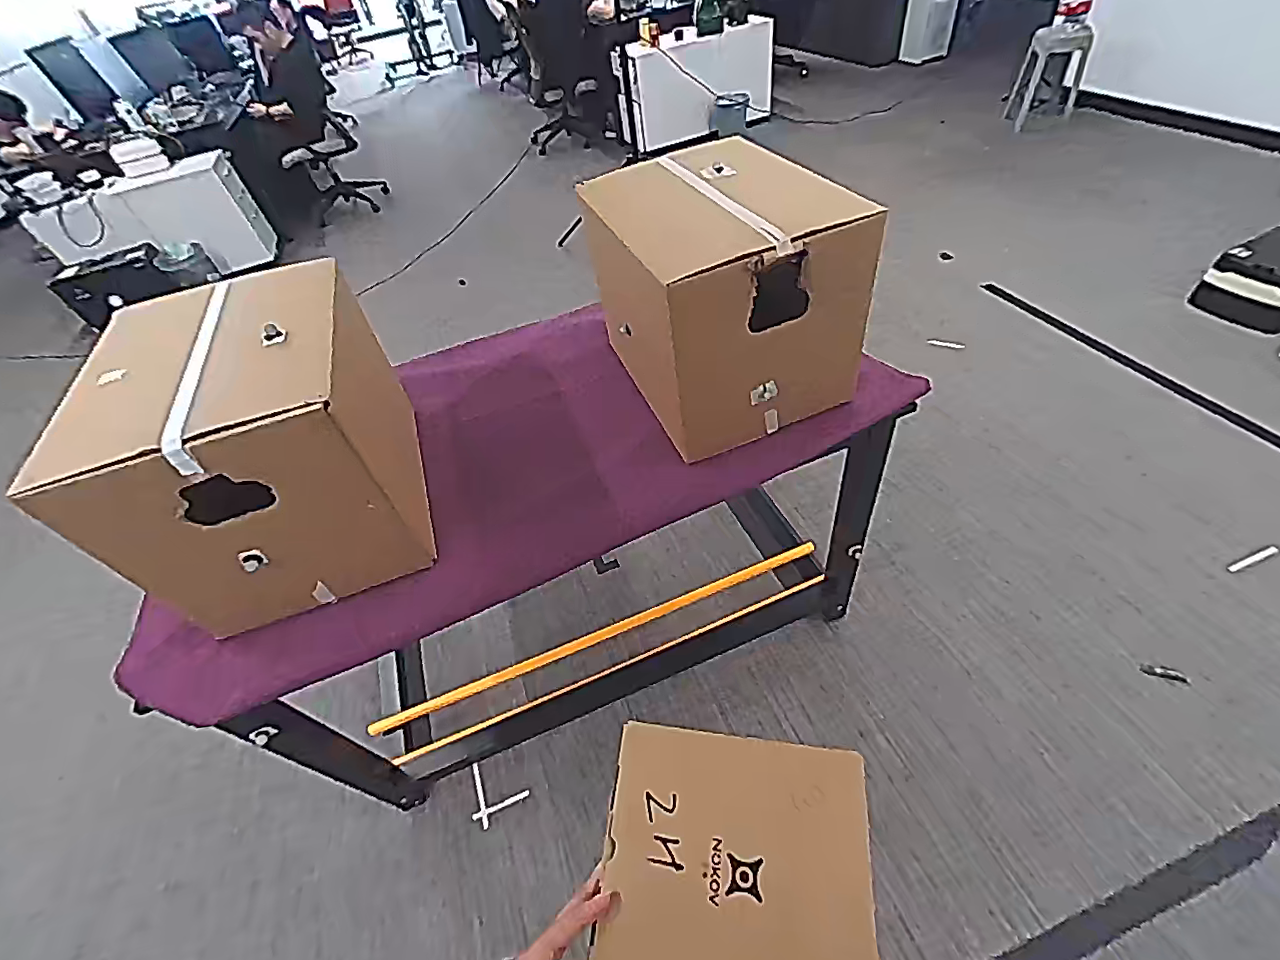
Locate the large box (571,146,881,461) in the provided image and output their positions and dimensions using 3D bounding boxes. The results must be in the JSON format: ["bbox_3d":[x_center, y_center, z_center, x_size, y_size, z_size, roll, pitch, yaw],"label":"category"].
[{"bbox_3d":[0.121,-0.303,0.900,0.320,0.320,0.408,-21,46,-9],"label":"large box"}]

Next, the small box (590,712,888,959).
[{"bbox_3d":[0.077,0.292,0.414,0.179,0.176,0.168,1,55,13],"label":"small box"}]
